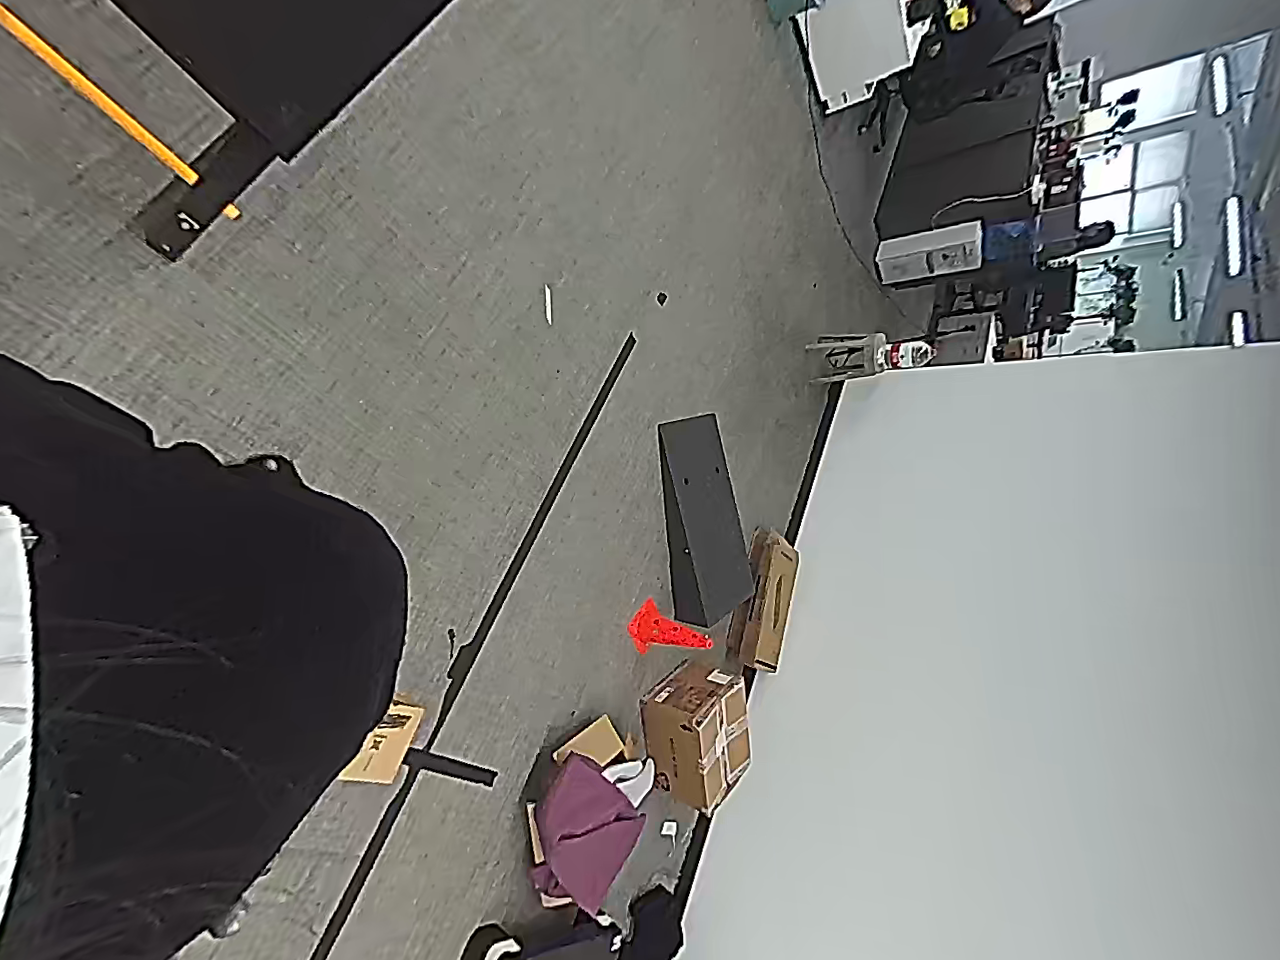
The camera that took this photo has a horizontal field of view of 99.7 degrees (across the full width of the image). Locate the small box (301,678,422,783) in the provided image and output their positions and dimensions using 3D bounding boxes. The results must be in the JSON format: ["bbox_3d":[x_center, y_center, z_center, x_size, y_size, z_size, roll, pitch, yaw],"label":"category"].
[{"bbox_3d":[-0.665,0.590,1.285,0.168,0.176,0.179,41,63,-44],"label":"small box"}]
